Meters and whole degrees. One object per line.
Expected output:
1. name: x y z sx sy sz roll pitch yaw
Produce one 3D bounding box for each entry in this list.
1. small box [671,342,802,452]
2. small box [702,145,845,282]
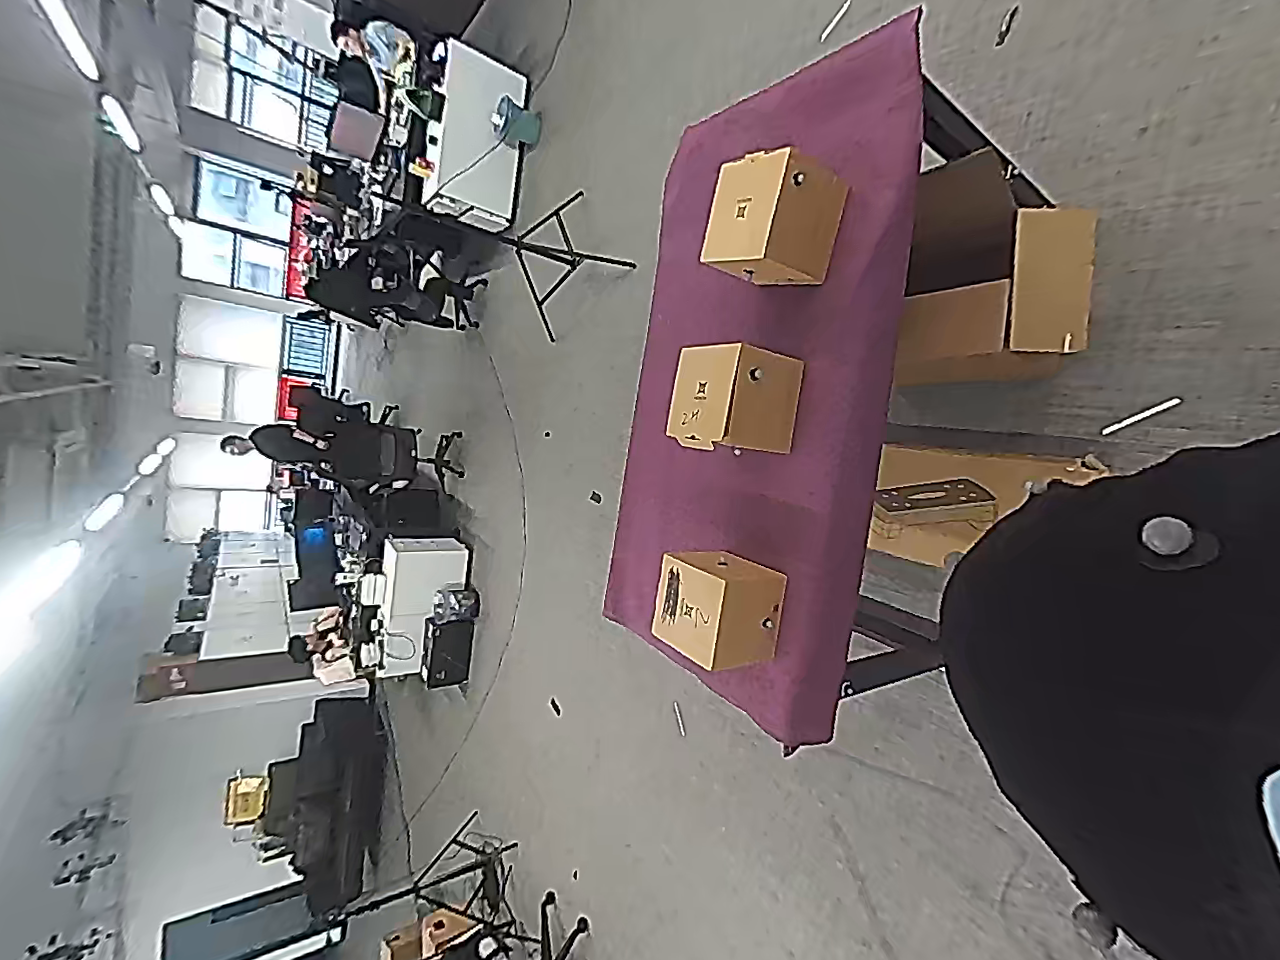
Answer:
1. small box: 0.183 -0.154 1.024 0.168 0.176 0.179 15 99 56
2. small box: 0.241 -0.464 0.976 0.168 0.176 0.179 26 108 52
